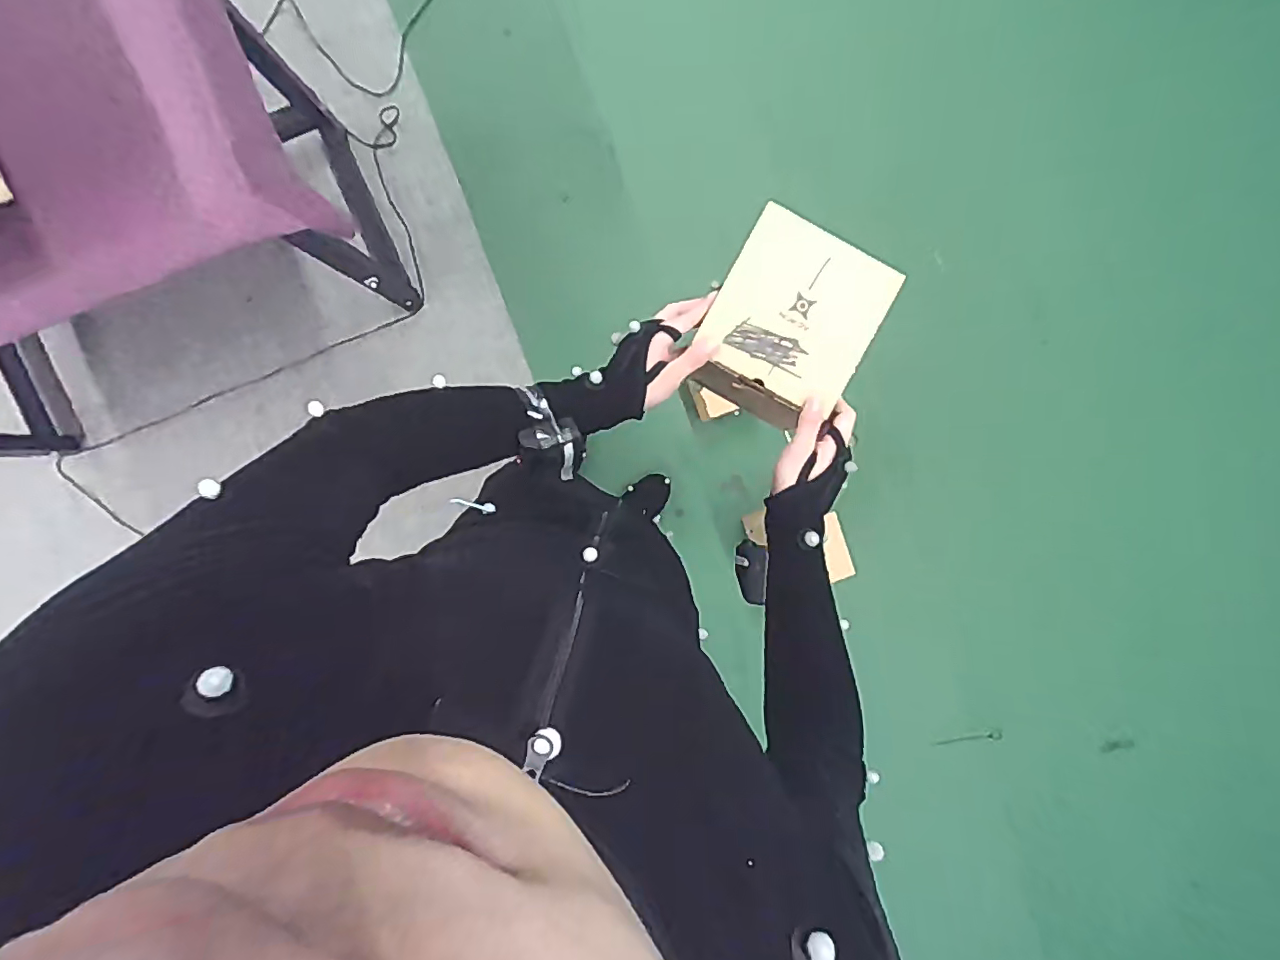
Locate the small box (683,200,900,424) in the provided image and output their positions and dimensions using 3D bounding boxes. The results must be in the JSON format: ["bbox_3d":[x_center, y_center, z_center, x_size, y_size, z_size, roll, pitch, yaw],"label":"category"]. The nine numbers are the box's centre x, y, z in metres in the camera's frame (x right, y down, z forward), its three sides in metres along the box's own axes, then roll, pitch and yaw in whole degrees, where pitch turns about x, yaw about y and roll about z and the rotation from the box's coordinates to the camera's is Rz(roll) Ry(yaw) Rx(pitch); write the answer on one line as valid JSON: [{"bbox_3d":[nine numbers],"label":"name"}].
[{"bbox_3d":[0.161,-0.178,0.640,0.168,0.176,0.179,28,91,-2],"label":"small box"}]

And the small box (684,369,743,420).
[{"bbox_3d":[0.237,-0.277,1.533,0.179,0.176,0.168,-20,93,2],"label":"small box"}]

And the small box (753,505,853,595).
[{"bbox_3d":[0.412,0.172,1.391,0.179,0.176,0.168,-19,93,1],"label":"small box"}]
